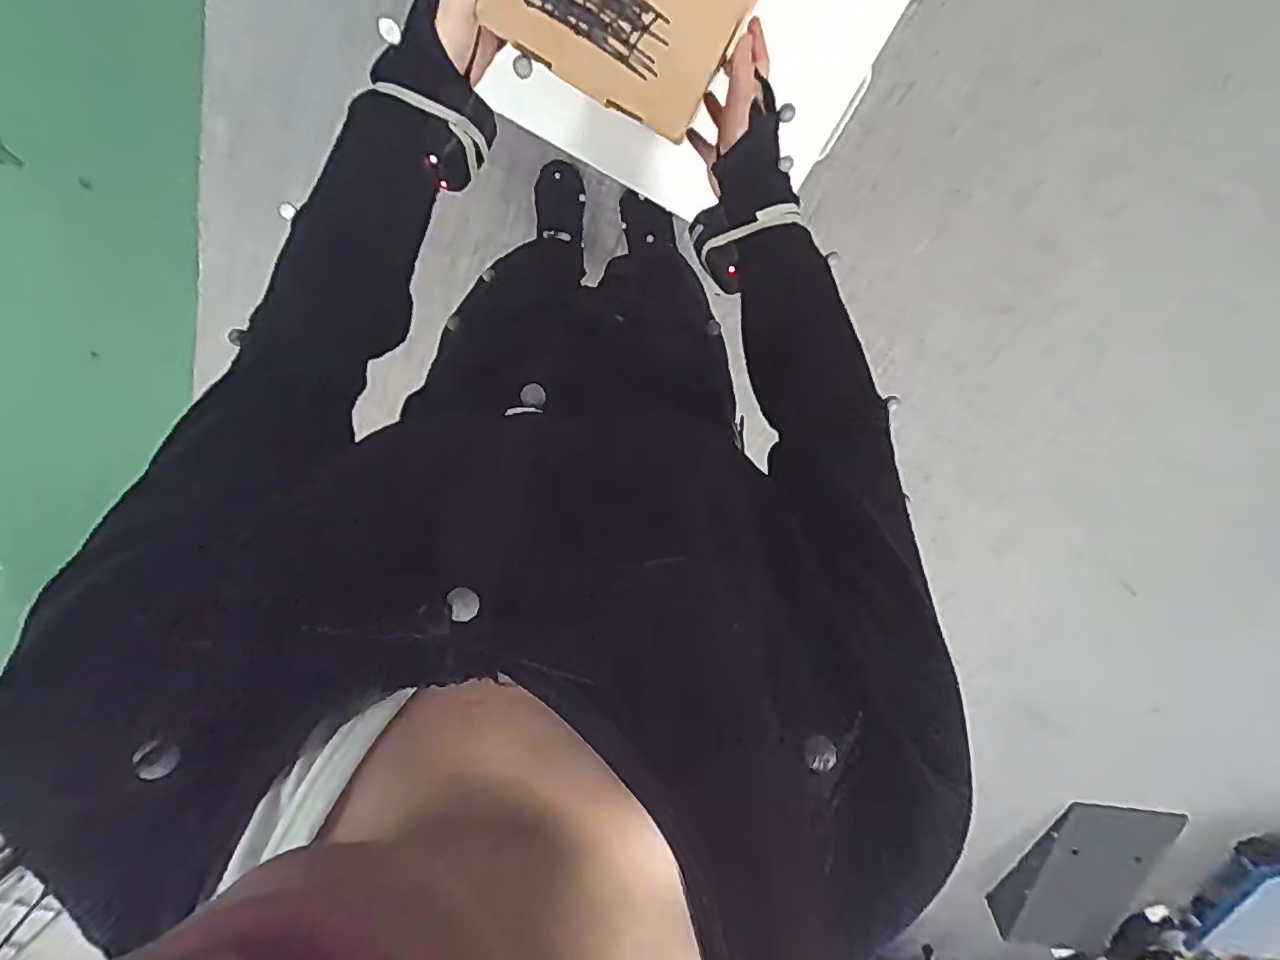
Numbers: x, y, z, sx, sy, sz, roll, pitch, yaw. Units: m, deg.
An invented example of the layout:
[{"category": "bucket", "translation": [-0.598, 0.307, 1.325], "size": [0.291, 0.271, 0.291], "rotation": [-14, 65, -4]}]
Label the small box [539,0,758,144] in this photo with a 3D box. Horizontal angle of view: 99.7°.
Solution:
[{"category": "small box", "translation": [0.019, -0.477, 0.551], "size": [0.168, 0.176, 0.179], "rotation": [27, 118, -11]}]
